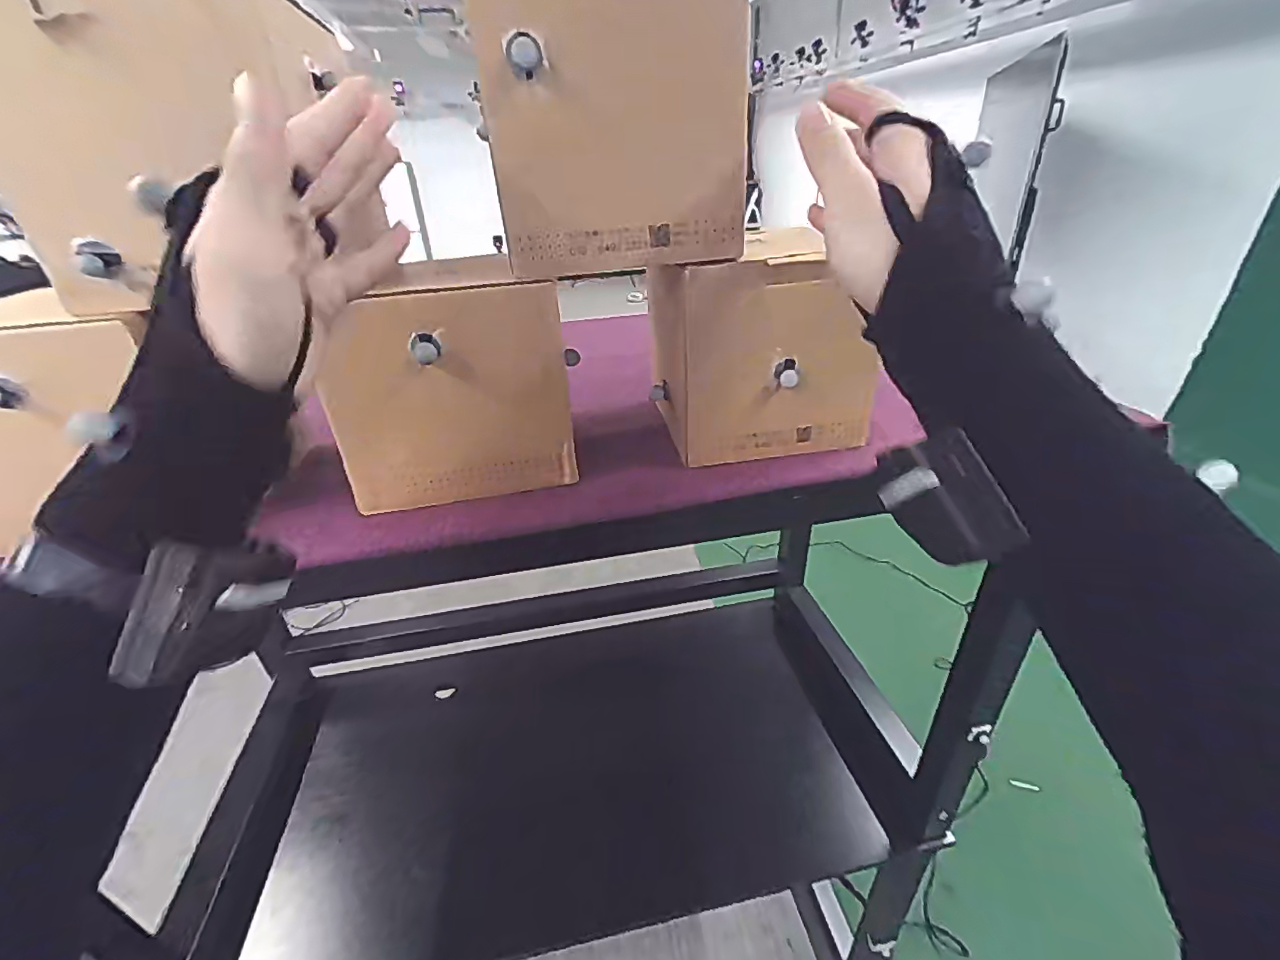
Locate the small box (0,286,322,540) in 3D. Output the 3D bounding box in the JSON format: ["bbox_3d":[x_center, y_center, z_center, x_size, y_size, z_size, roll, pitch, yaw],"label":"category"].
[{"bbox_3d":[-0.407,-0.064,0.448,0.179,0.176,0.168,-5,29,-5],"label":"small box"}]

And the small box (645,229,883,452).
[{"bbox_3d":[0.102,-0.134,0.519,0.168,0.176,0.179,-7,30,-6],"label":"small box"}]

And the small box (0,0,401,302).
[{"bbox_3d":[-0.293,-0.229,0.396,0.168,0.176,0.179,-7,29,-8],"label":"small box"}]
